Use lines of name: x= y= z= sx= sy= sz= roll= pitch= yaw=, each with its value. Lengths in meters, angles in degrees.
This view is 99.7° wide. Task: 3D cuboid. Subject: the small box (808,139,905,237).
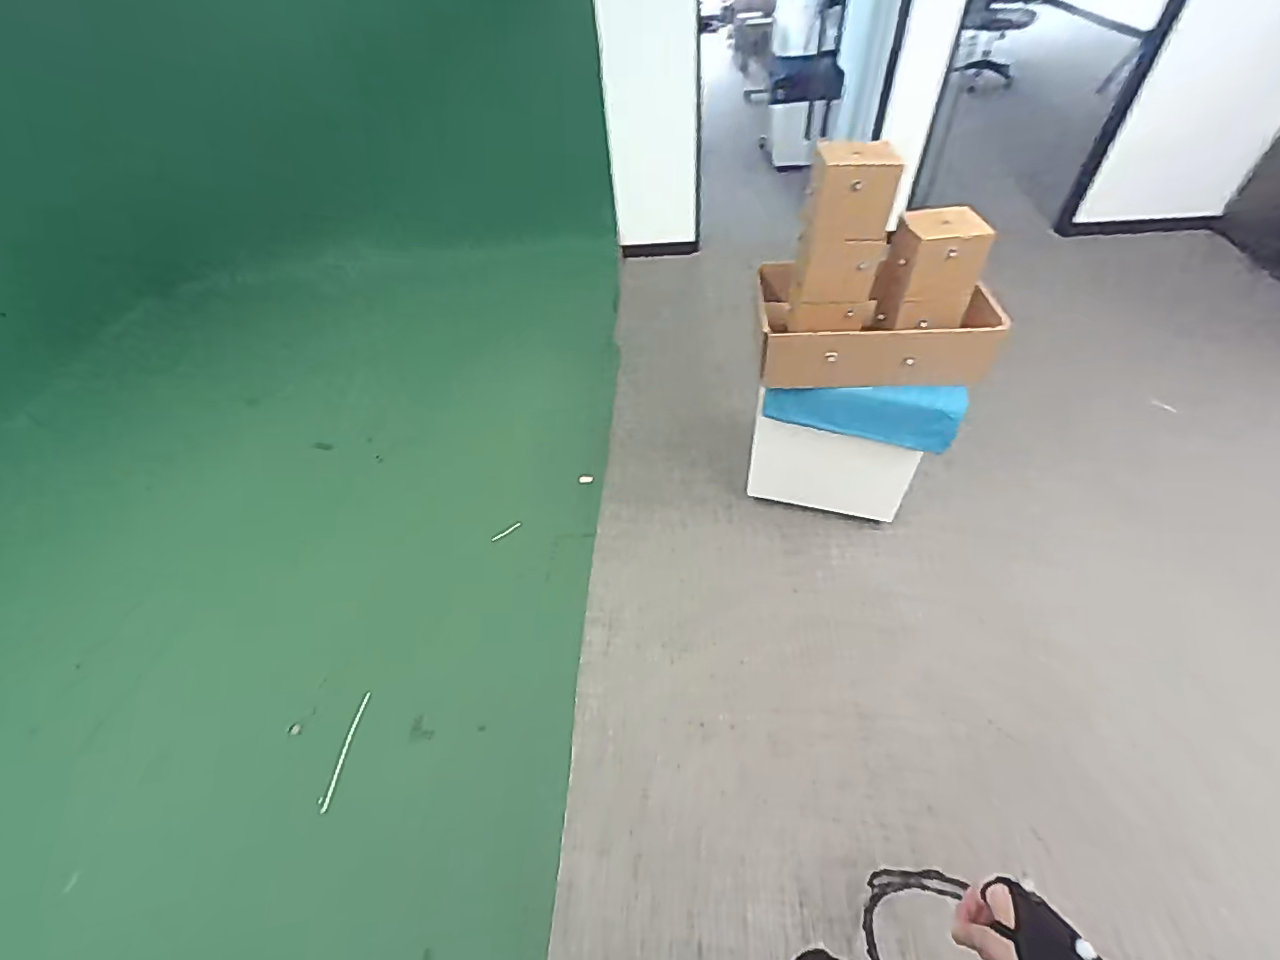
small box: x=0.510 y=-0.702 z=1.308 sx=0.179 sy=0.176 sz=0.168 roll=2 pitch=48 yaw=5

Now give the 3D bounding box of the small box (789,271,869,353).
small box: x=0.530 y=-0.479 z=1.548 sx=0.179 sy=0.176 sz=0.168 roll=0 pitch=47 yaw=4

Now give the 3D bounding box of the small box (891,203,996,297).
small box: x=0.767 y=-0.590 z=1.396 sx=0.179 sy=0.176 sz=0.168 roll=-4 pitch=47 yaw=3

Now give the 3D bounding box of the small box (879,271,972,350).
small box: x=0.785 y=-0.479 z=1.514 sx=0.179 sy=0.176 sz=0.168 roll=-4 pitch=47 yaw=5
